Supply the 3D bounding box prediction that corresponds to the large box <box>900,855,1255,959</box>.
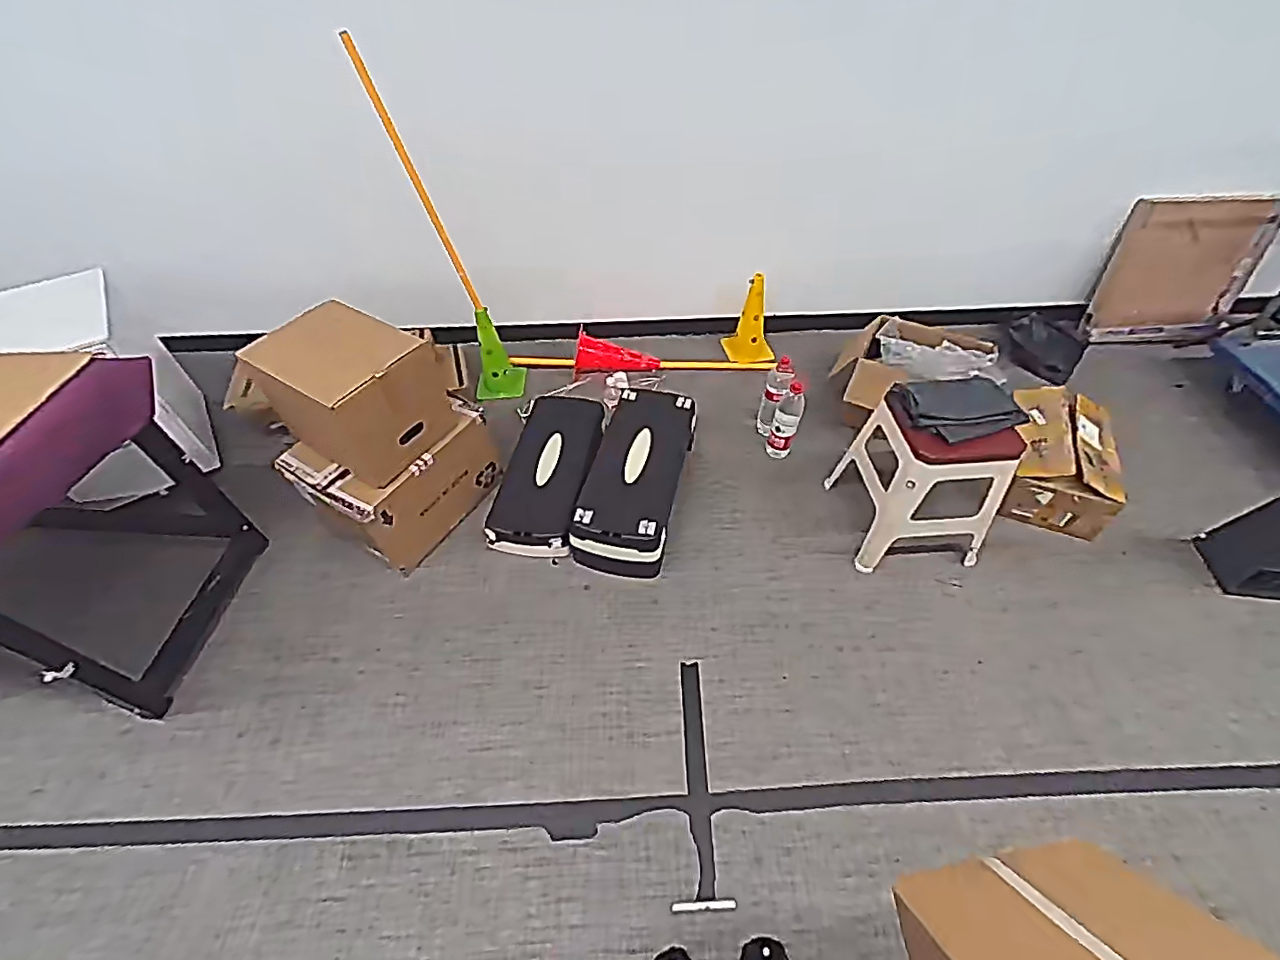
[{"bbox_3d":[0.569,0.715,0.603,0.320,0.408,0.320,-11,82,-4],"label":"large box"}]
